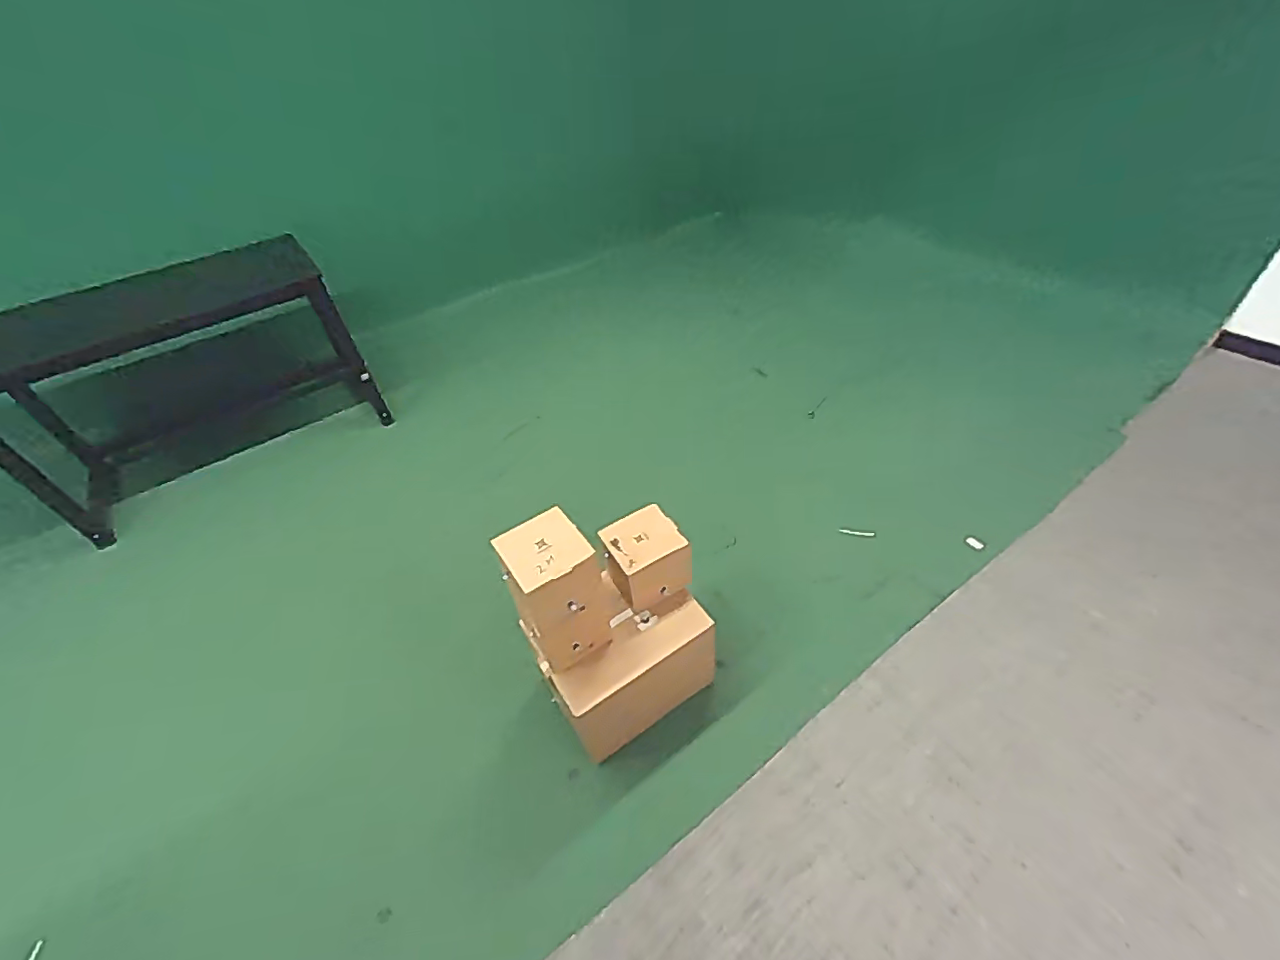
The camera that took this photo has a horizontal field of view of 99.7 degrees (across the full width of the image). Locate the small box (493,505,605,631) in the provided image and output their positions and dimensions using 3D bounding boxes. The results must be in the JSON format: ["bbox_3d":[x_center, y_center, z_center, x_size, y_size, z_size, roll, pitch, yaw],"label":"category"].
[{"bbox_3d":[-0.194,0.192,1.178,0.168,0.176,0.179,-28,48,-21],"label":"small box"}]

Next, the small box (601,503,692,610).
[{"bbox_3d":[0.018,0.196,1.381,0.179,0.176,0.168,-24,46,-17],"label":"small box"}]

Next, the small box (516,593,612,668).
[{"bbox_3d":[-0.184,0.310,1.292,0.168,0.176,0.179,-27,47,-21],"label":"small box"}]

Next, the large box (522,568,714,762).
[{"bbox_3d":[-0.048,0.465,1.465,0.408,0.320,0.320,-27,48,-21],"label":"large box"}]
